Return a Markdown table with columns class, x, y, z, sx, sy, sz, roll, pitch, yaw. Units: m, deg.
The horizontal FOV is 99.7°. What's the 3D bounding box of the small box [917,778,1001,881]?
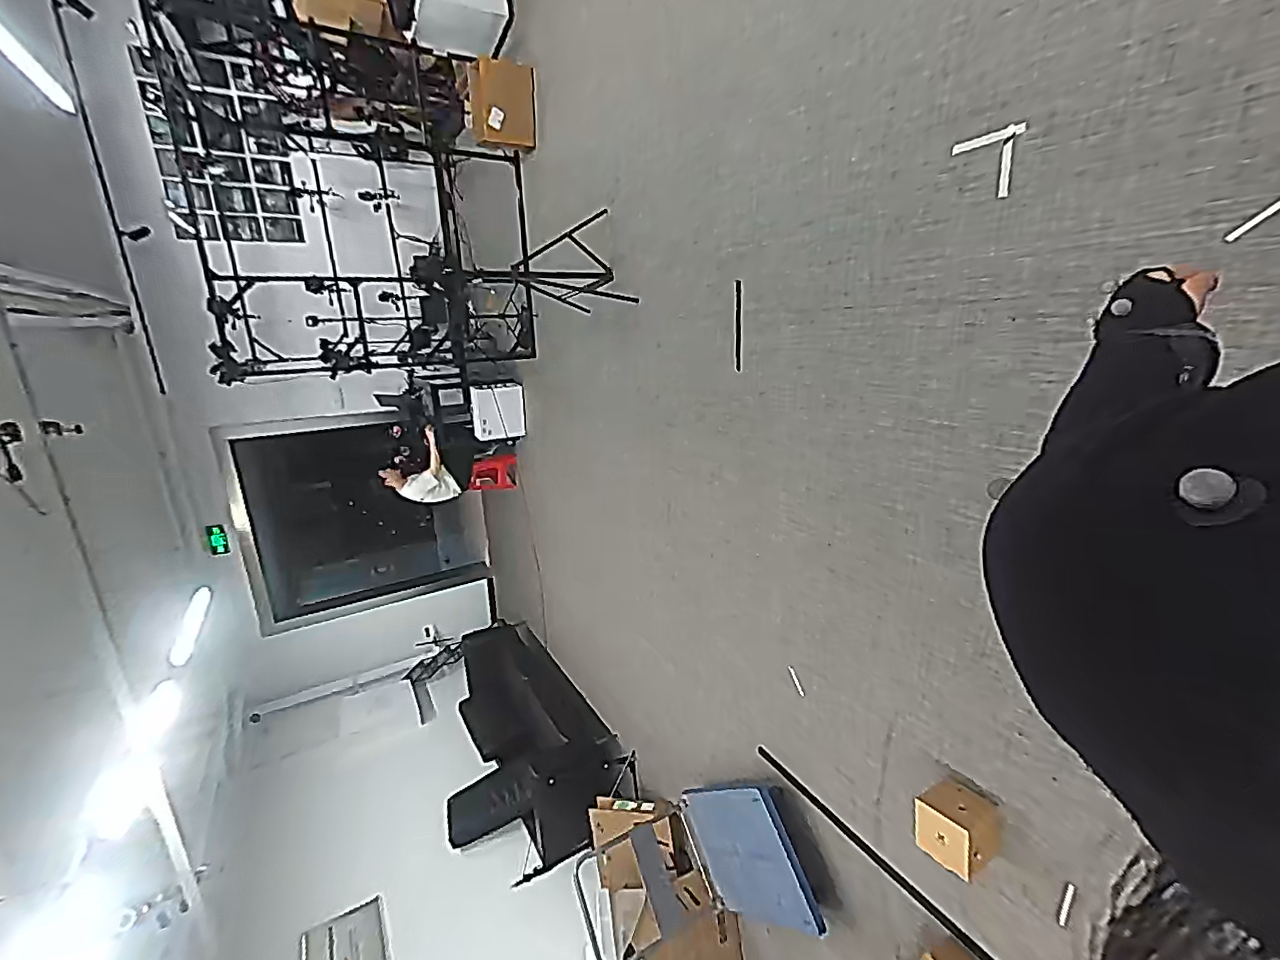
| class | x | y | z | sx | sy | sz | roll | pitch | yaw |
| --- | --- | --- | --- | --- | --- | --- | --- | --- | --- |
| small box | 0.982 | 1.062 | 1.663 | 0.168 | 0.176 | 0.179 | 12 | 111 | 59 |
